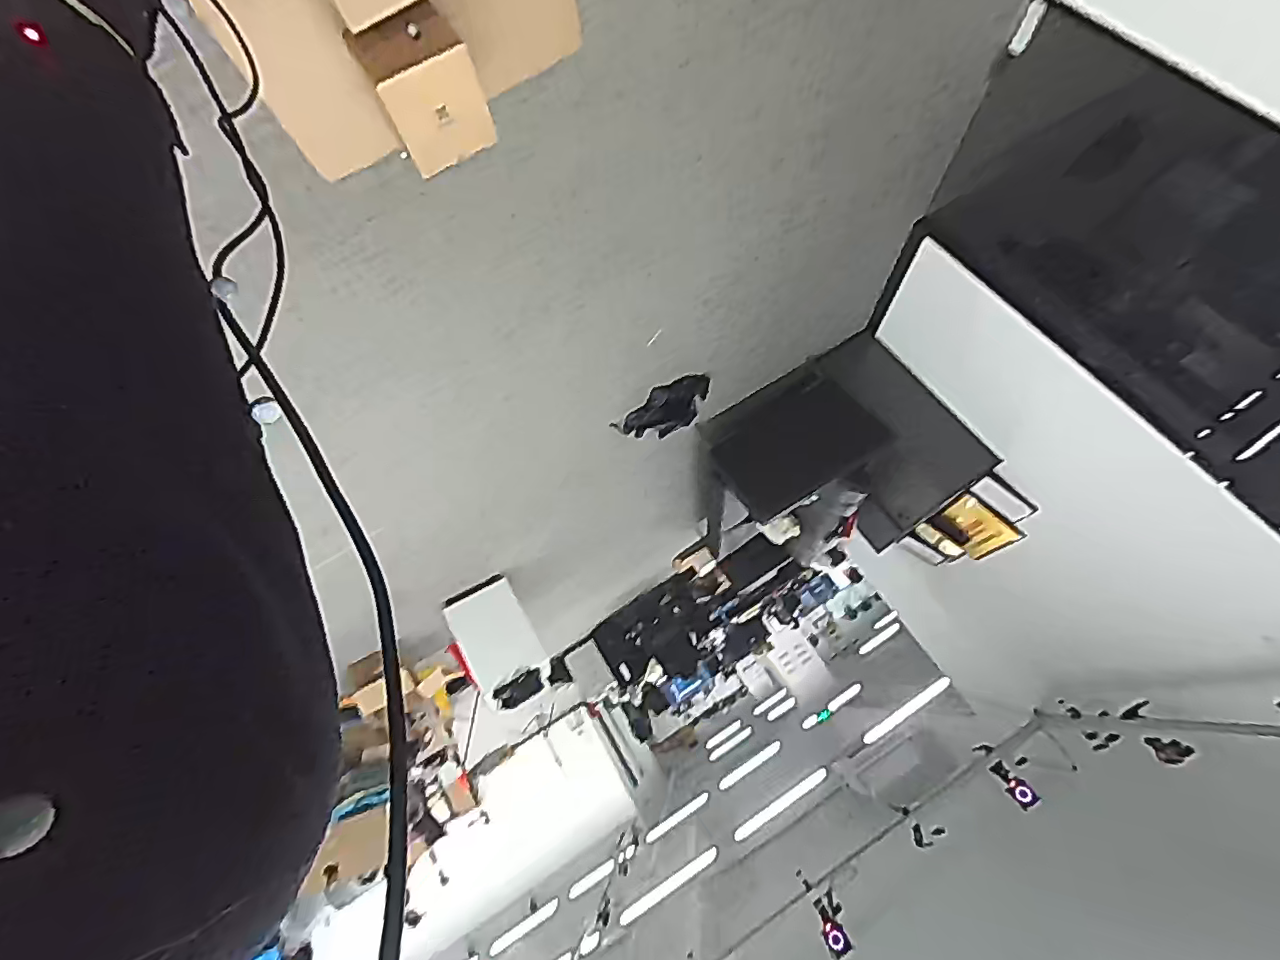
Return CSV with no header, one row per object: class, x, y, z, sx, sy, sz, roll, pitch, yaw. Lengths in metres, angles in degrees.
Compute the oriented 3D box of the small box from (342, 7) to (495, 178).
small box,-0.396,-0.700,0.972,0.168,0.176,0.179,-32,160,-7
